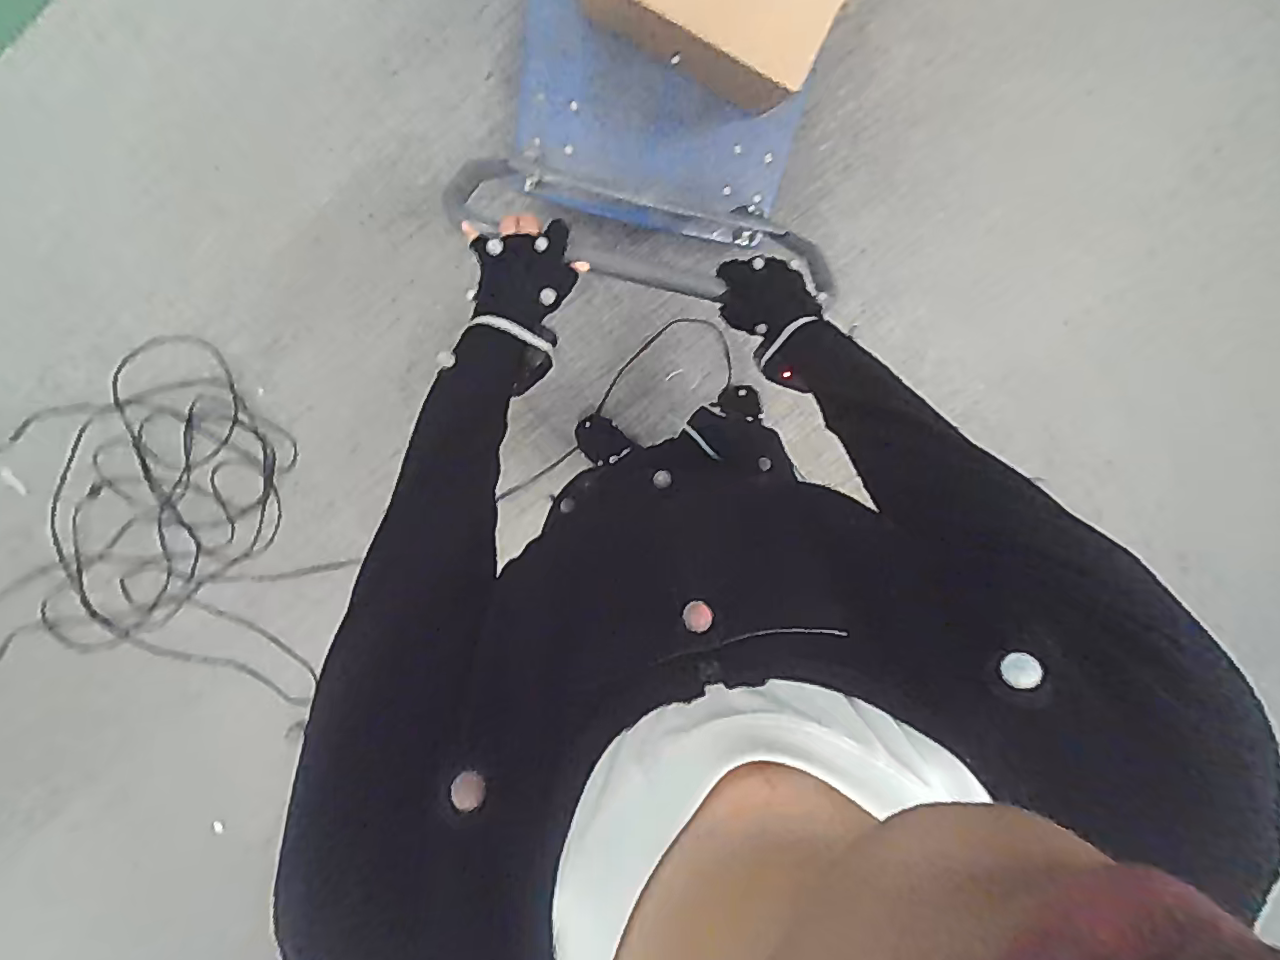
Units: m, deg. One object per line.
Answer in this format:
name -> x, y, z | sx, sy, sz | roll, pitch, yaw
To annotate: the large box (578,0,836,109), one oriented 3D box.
large box -> 0.126, -0.881, 0.888 | 0.408, 0.320, 0.320 | 22, 116, -11
